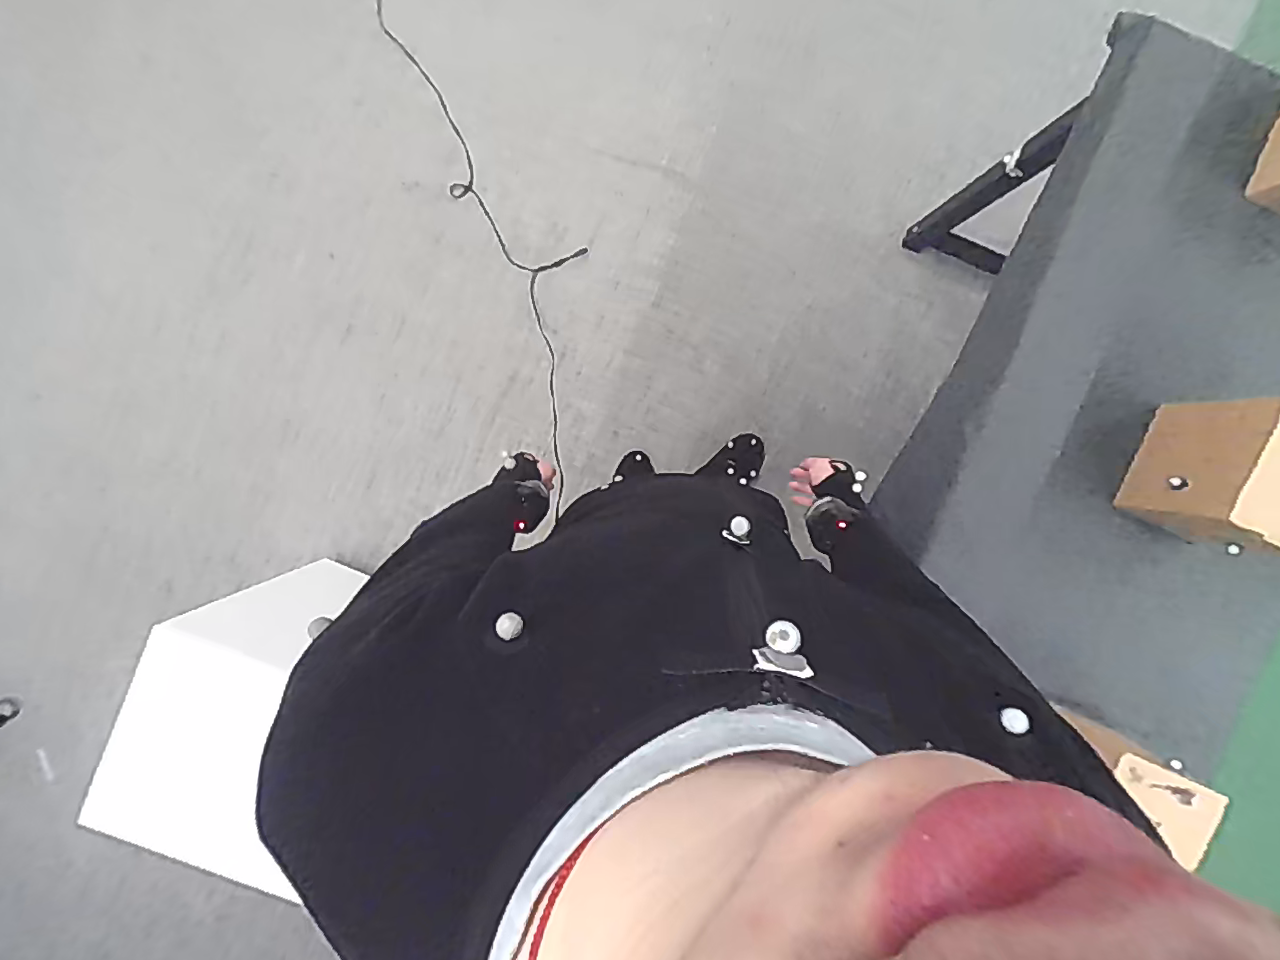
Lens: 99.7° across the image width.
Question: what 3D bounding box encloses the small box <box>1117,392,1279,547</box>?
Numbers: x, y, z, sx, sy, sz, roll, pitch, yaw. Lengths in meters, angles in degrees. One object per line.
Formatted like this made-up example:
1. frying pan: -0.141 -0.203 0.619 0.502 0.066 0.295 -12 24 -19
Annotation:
1. small box: 0.862 -0.010 0.790 0.168 0.176 0.179 21 91 -7

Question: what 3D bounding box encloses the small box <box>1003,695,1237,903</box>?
1. small box: 0.690 0.458 0.802 0.168 0.176 0.179 24 92 -5
